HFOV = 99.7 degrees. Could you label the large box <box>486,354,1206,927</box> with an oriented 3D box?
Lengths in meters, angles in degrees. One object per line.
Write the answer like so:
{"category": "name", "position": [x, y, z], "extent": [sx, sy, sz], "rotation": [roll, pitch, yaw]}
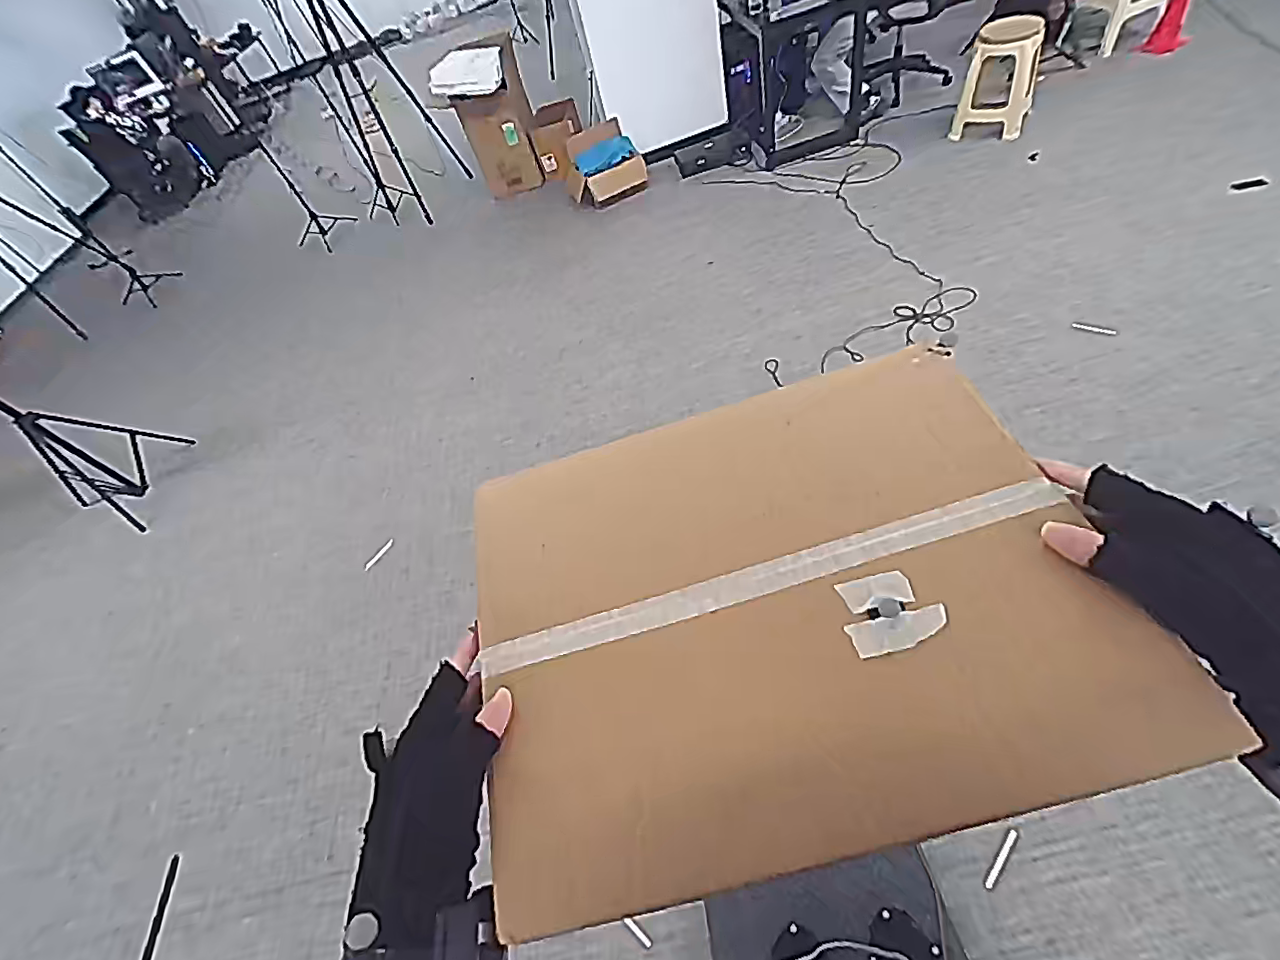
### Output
{"category": "large box", "position": [0.115, 0.152, 0.504], "extent": [0.408, 0.320, 0.320], "rotation": [-18, 56, 3]}
